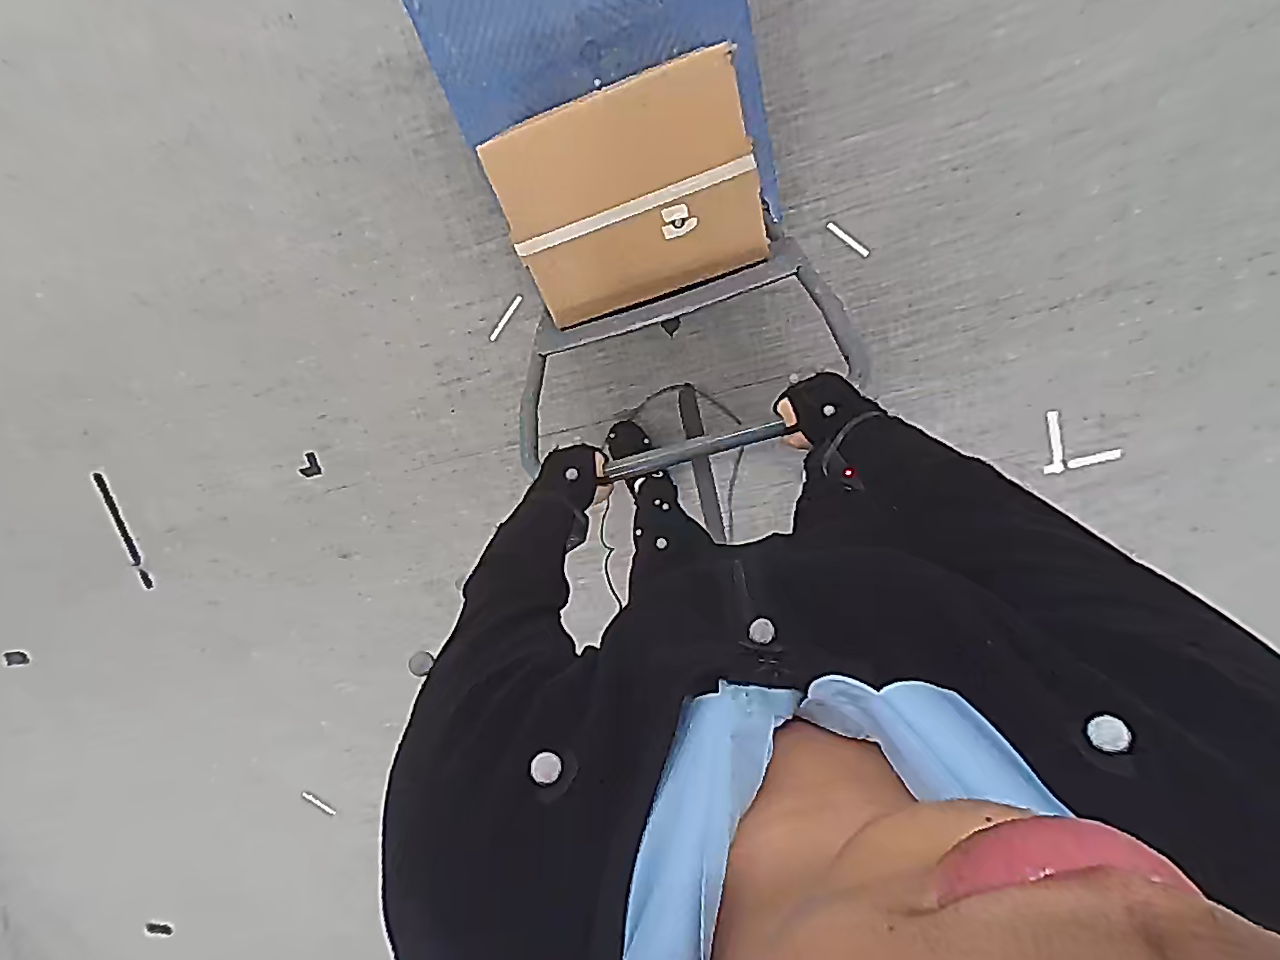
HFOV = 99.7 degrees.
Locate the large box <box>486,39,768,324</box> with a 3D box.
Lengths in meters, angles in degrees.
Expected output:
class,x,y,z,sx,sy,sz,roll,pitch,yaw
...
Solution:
class,x,y,z,sx,sy,sz,roll,pitch,yaw
large box,-0.016,-0.552,1.018,0.408,0.320,0.320,-17,127,10
